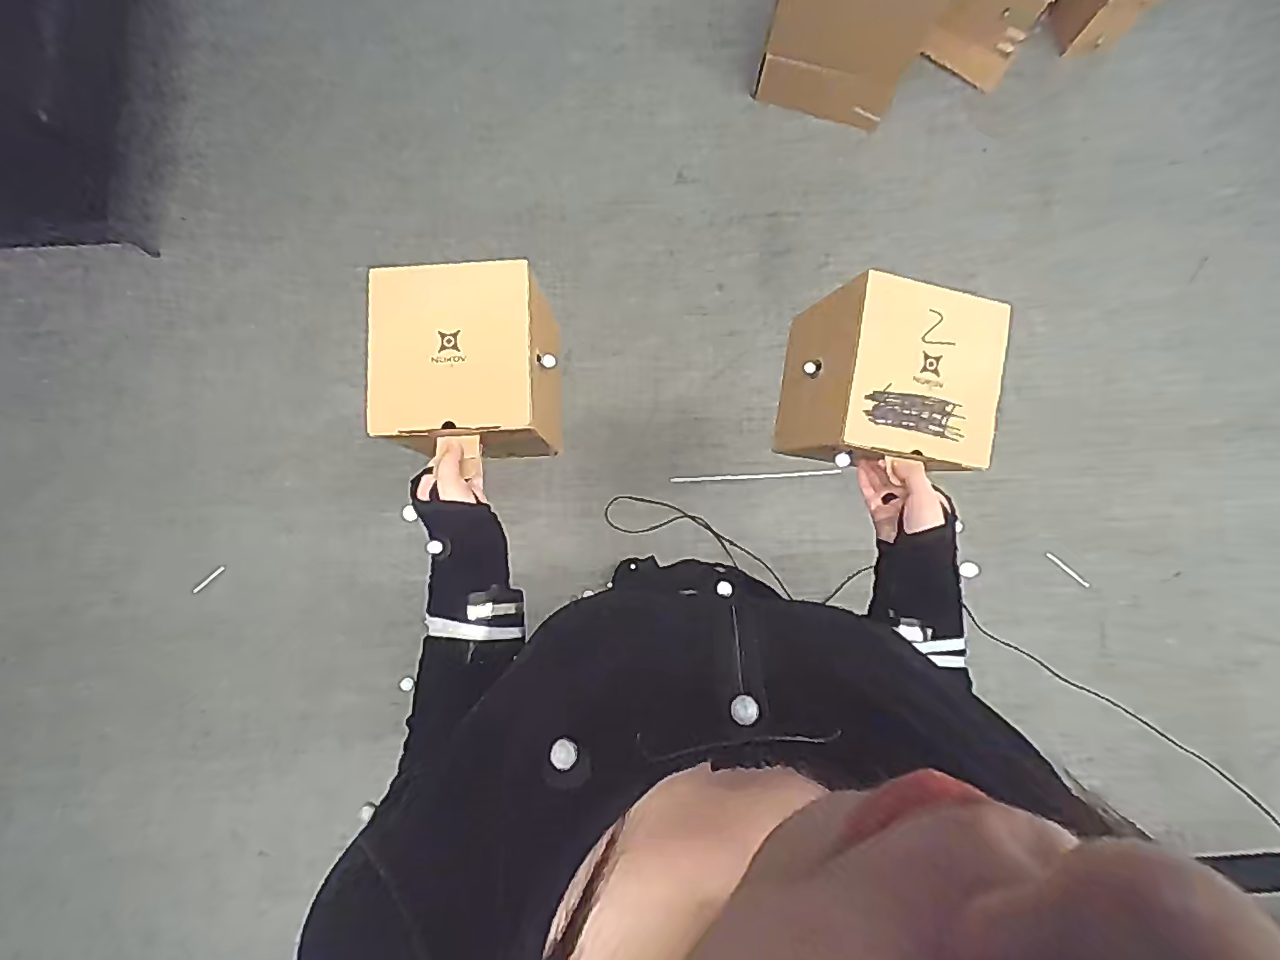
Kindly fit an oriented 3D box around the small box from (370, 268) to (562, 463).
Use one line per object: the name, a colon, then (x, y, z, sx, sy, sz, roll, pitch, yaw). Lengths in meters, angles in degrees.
small box: (-0.184, -0.119, 0.619, 0.168, 0.176, 0.179, -2, 84, 1)
